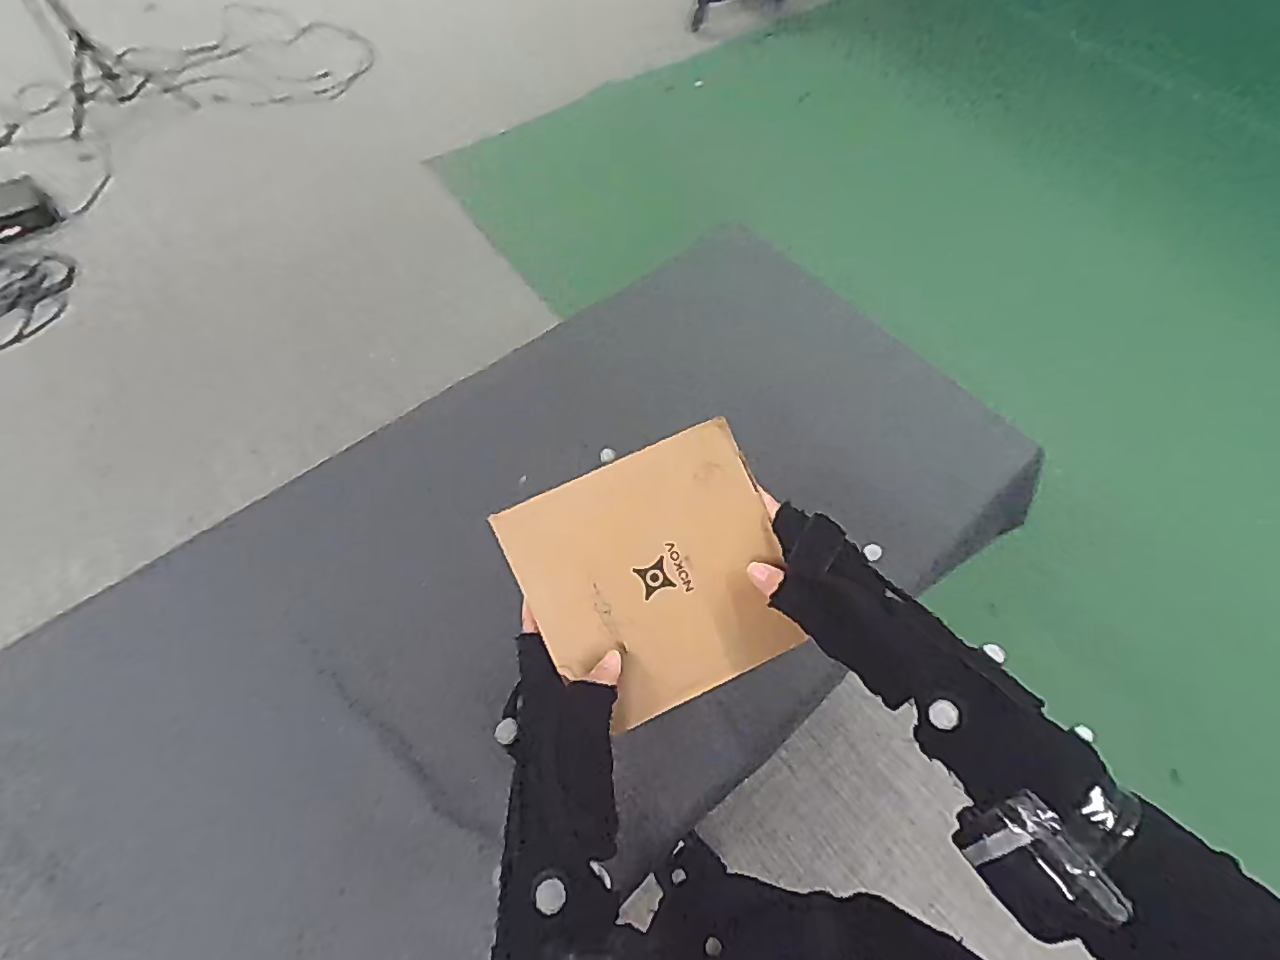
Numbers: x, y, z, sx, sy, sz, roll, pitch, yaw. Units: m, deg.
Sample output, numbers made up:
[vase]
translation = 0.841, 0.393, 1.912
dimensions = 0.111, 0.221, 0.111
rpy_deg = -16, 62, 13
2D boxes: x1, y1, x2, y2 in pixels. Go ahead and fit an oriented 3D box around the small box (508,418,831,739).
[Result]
[small box]
translation = 0.016, 0.067, 0.441
dimensions = 0.179, 0.176, 0.168
rpy_deg = -24, 87, -4
